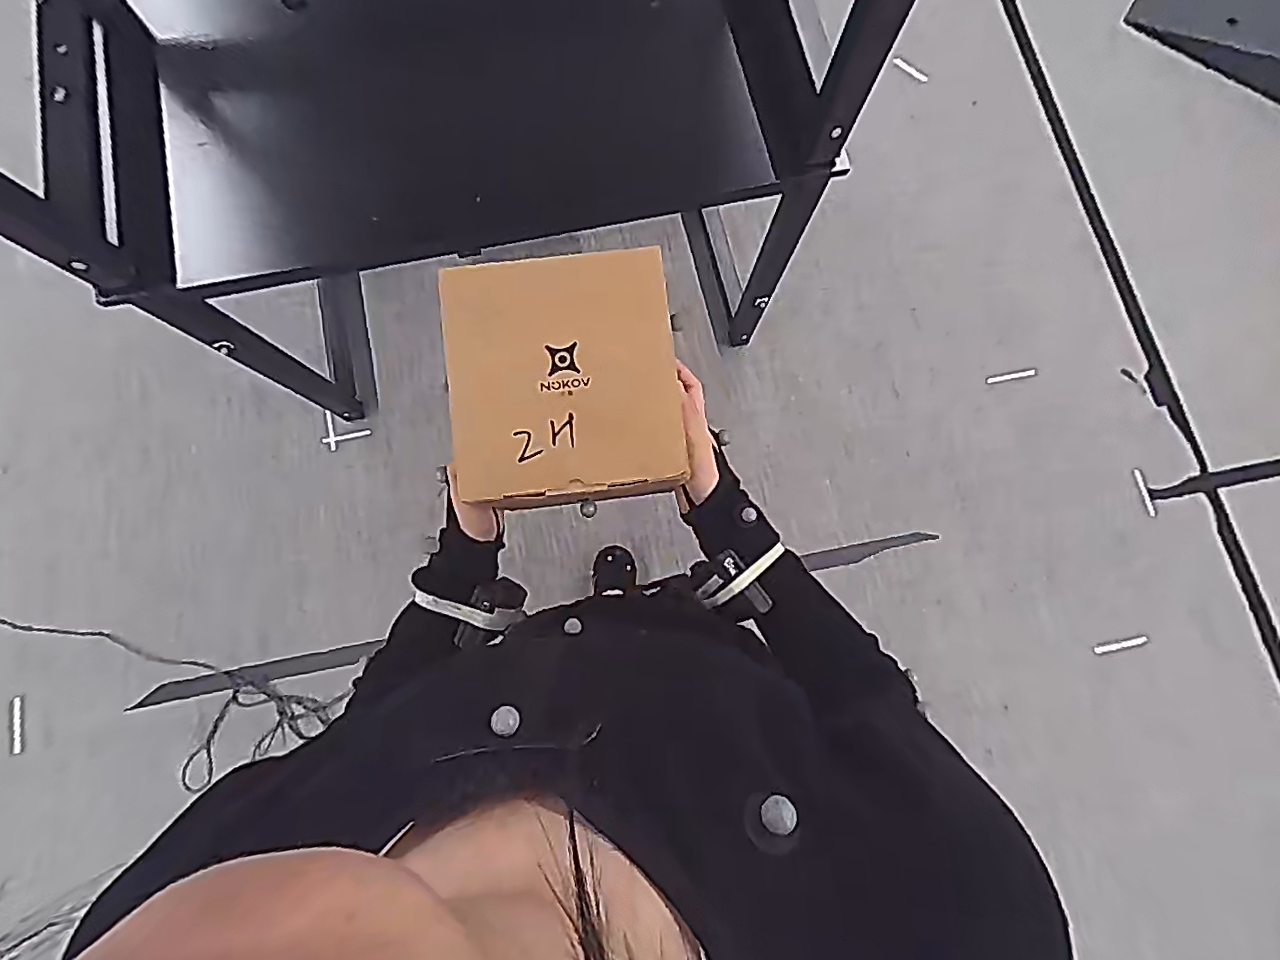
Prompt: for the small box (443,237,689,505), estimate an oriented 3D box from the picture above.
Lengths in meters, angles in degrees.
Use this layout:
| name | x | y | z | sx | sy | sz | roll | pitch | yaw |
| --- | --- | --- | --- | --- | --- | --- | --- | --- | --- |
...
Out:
| name | x | y | z | sx | sy | sz | roll | pitch | yaw |
| --- | --- | --- | --- | --- | --- | --- | --- | --- | --- |
| small box | -0.056 | -0.077 | 0.464 | 0.168 | 0.176 | 0.179 | -6 | 85 | -1 |
